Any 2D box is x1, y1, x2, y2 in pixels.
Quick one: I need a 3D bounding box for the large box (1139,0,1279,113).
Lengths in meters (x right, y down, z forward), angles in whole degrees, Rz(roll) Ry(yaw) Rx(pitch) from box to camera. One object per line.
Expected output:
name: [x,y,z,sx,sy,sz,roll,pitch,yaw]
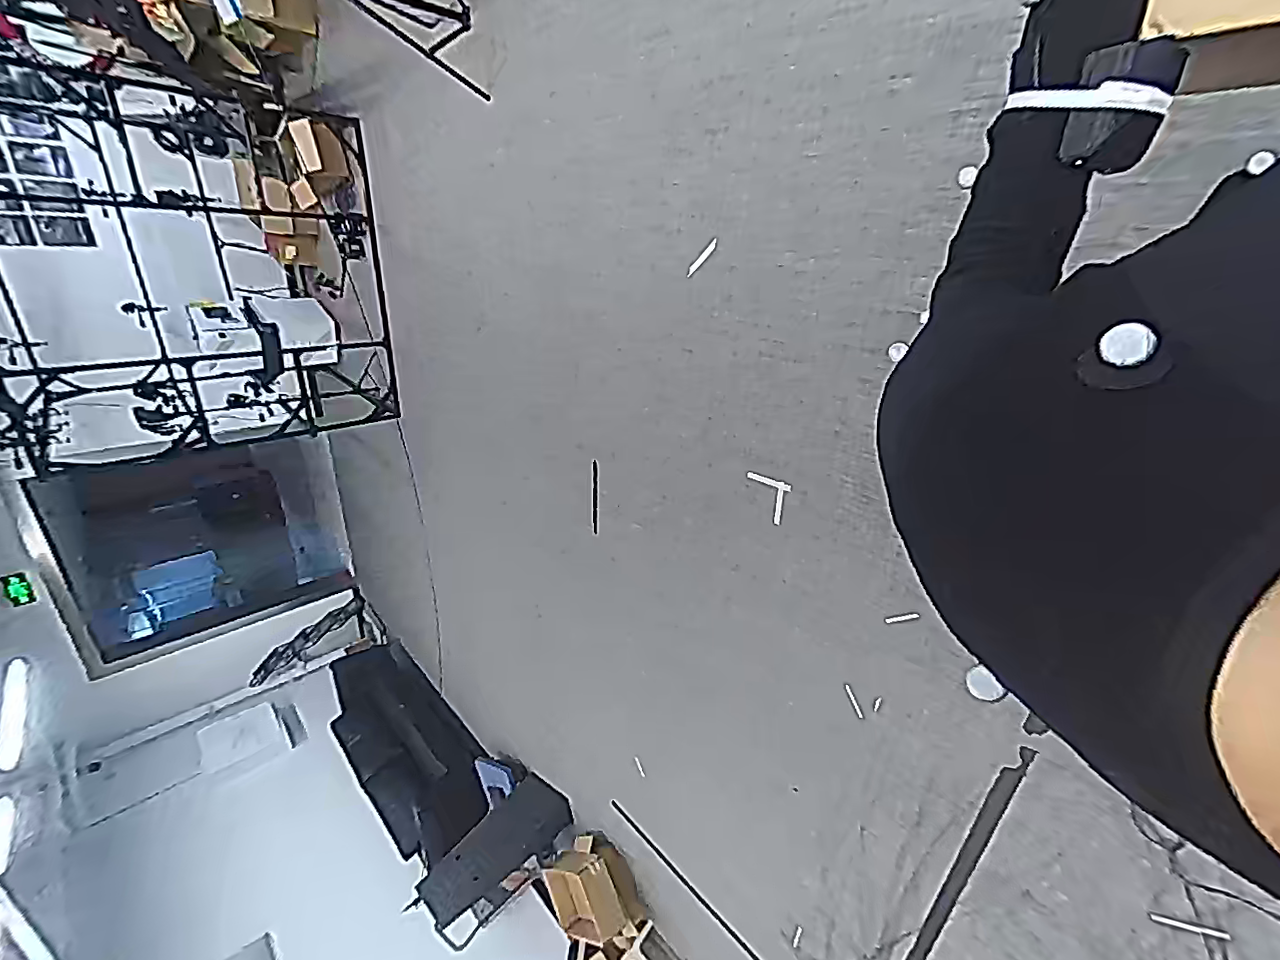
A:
large box: [0.553,-0.401,0.255,0.408,0.320,0.320,20,125,39]
